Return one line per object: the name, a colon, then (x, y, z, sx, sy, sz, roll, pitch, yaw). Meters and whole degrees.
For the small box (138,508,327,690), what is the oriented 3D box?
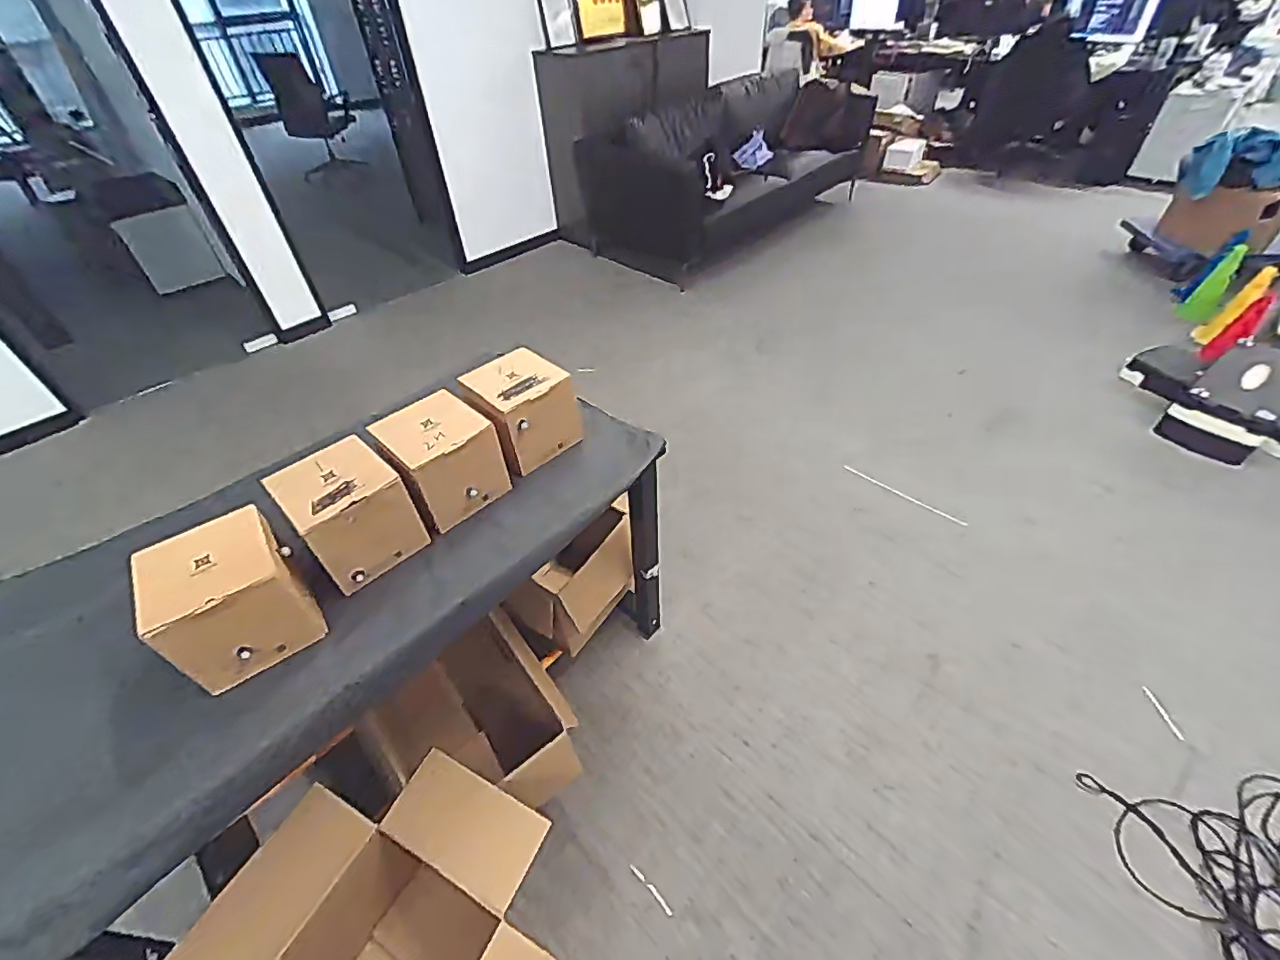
small box: (-0.617, 0.181, 0.828, 0.168, 0.176, 0.179, -29, 50, -25)
